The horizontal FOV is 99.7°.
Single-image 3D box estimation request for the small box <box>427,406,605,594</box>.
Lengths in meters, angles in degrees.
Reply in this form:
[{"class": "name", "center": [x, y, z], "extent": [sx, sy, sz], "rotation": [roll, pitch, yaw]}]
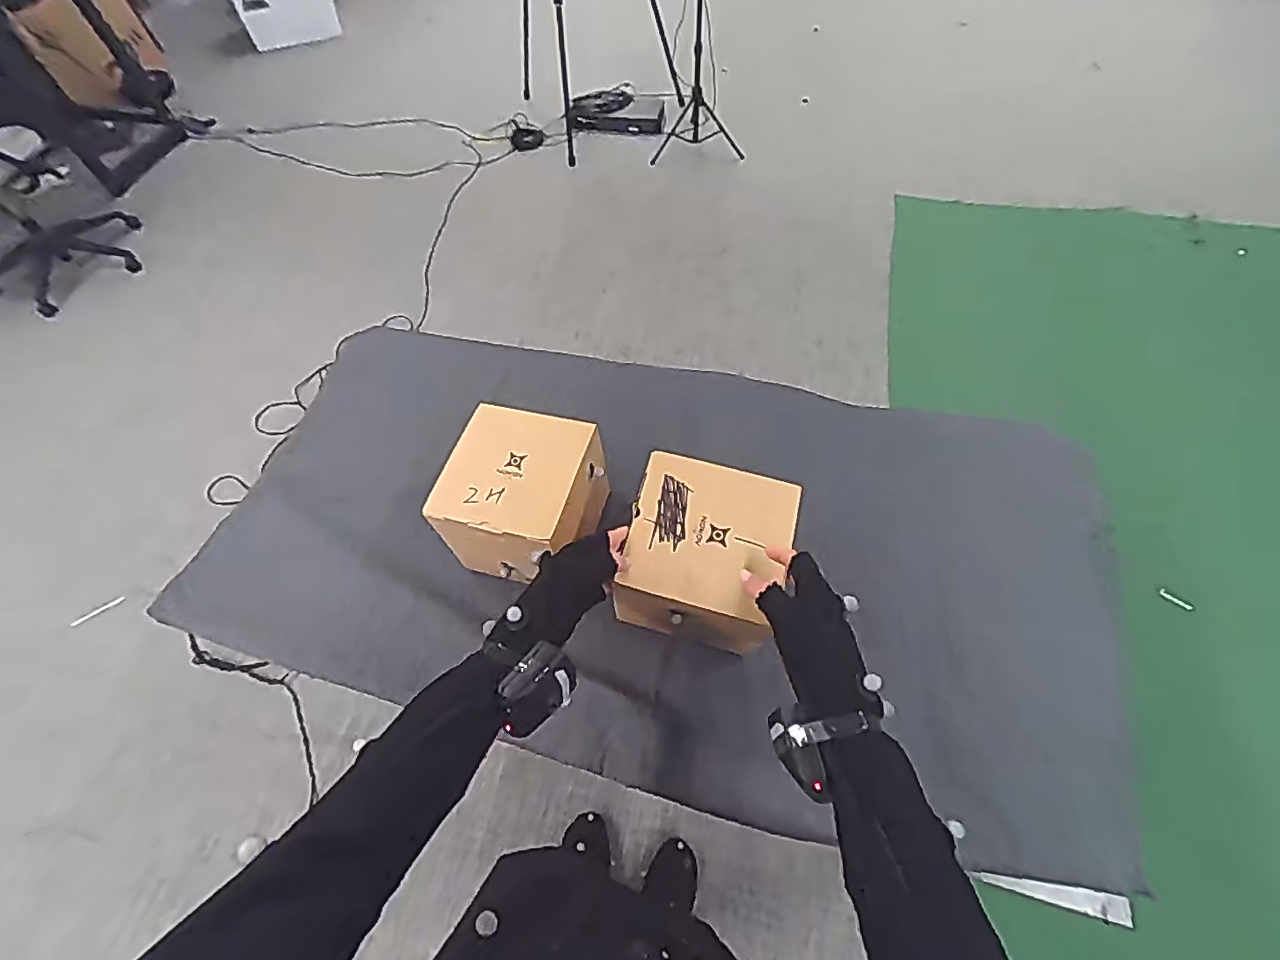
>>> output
[{"class": "small box", "center": [-0.150, 0.030, 0.734], "extent": [0.168, 0.176, 0.179], "rotation": [11, 59, 11]}]
